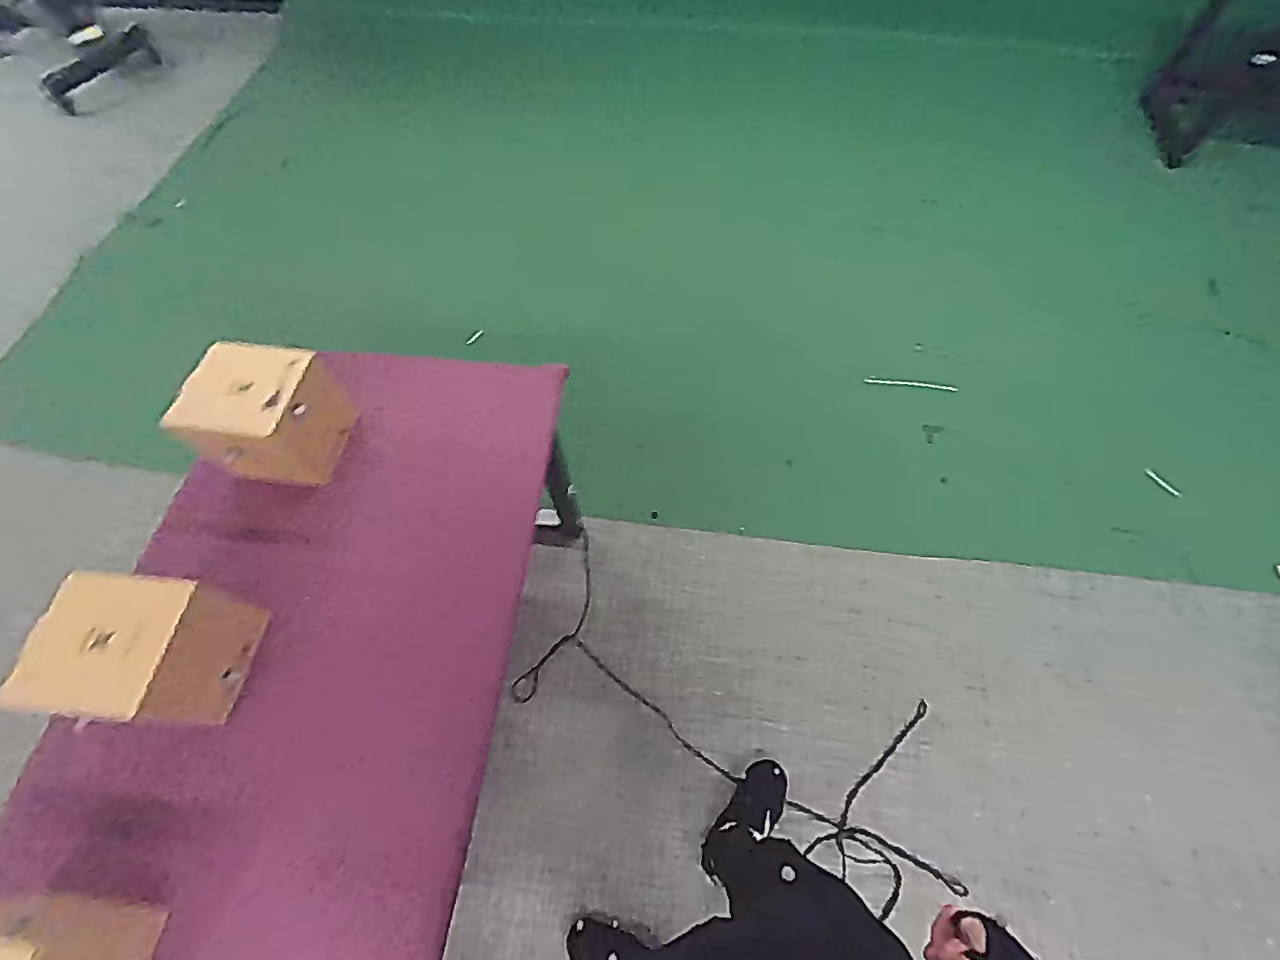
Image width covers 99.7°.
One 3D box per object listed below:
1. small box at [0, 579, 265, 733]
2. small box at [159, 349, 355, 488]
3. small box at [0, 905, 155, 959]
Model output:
[{"bbox_3d":[-0.669,0.244,0.733,0.179,0.176,0.168,4,63,3],"label":"small box"},{"bbox_3d":[-0.629,-0.099,0.914,0.179,0.176,0.168,5,63,5],"label":"small box"},{"bbox_3d":[-0.676,0.565,0.559,0.179,0.176,0.168,4,62,4],"label":"small box"}]
